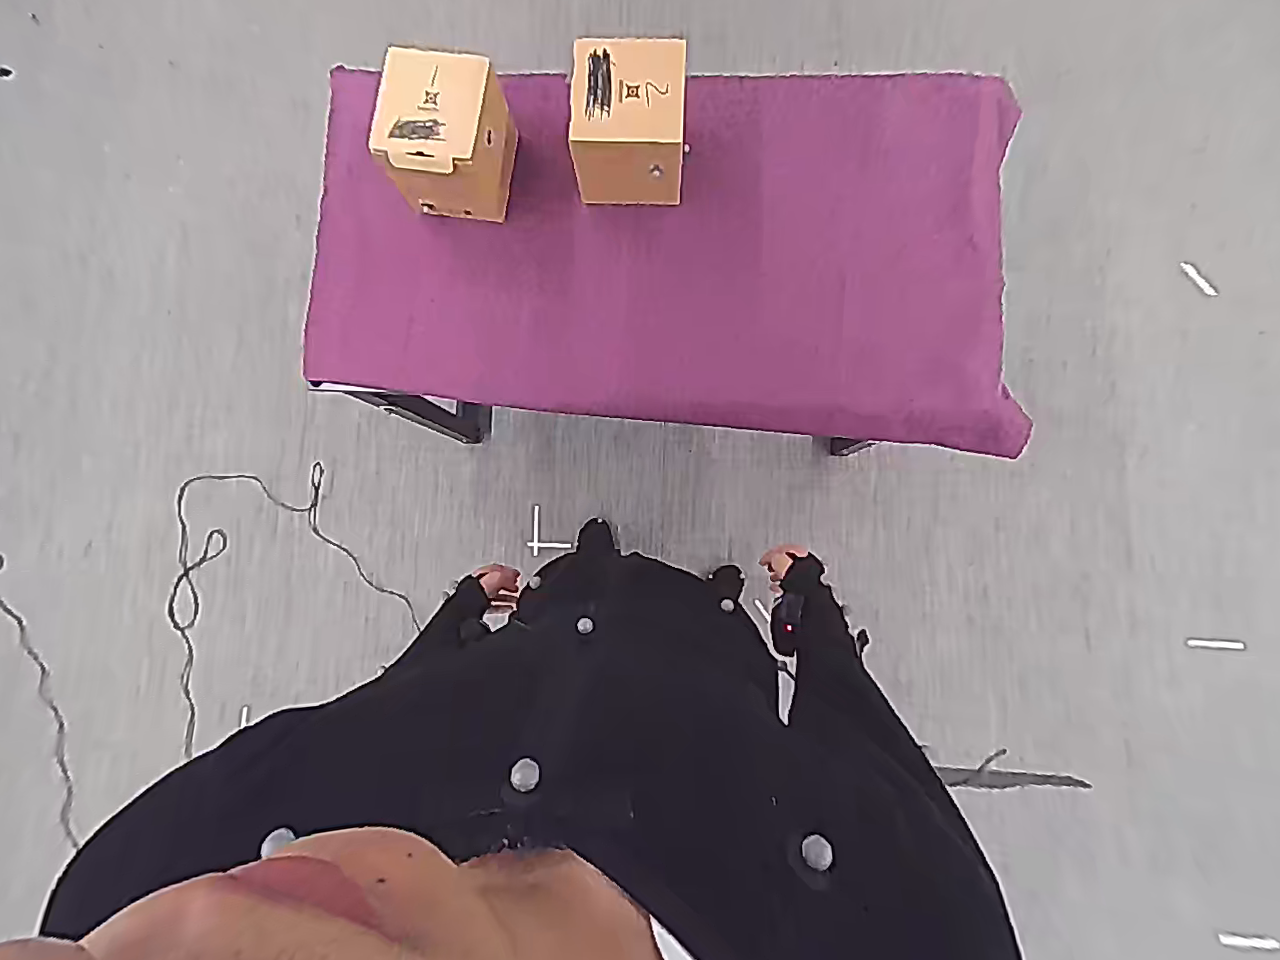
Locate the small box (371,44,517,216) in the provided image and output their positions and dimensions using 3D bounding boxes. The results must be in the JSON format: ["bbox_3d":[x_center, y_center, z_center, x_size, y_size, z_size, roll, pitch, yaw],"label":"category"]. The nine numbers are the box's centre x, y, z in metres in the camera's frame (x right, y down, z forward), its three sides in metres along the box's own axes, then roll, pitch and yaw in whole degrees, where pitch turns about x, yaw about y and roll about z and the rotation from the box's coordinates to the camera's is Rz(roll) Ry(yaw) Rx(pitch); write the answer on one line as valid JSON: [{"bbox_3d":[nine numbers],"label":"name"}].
[{"bbox_3d":[-0.316,-0.571,0.904,0.168,0.176,0.179,8,86,2],"label":"small box"}]
